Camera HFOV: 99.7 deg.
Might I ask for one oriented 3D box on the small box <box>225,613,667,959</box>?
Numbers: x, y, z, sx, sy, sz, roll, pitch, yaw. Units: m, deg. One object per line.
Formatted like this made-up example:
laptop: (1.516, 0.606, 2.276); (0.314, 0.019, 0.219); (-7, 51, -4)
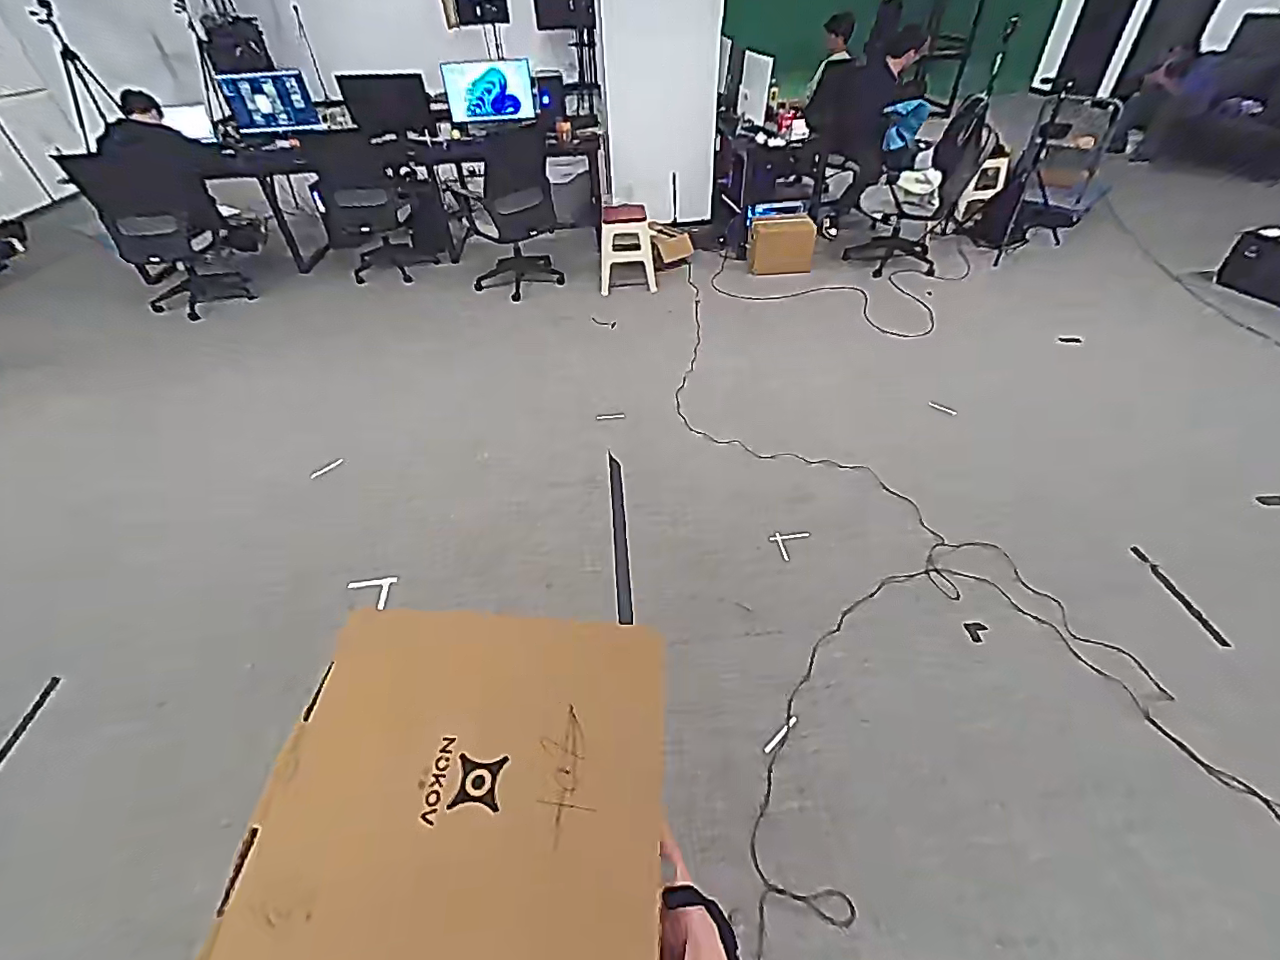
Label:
small box: (-0.078, 0.196, 0.319); (0.179, 0.176, 0.168); (4, 48, -2)
